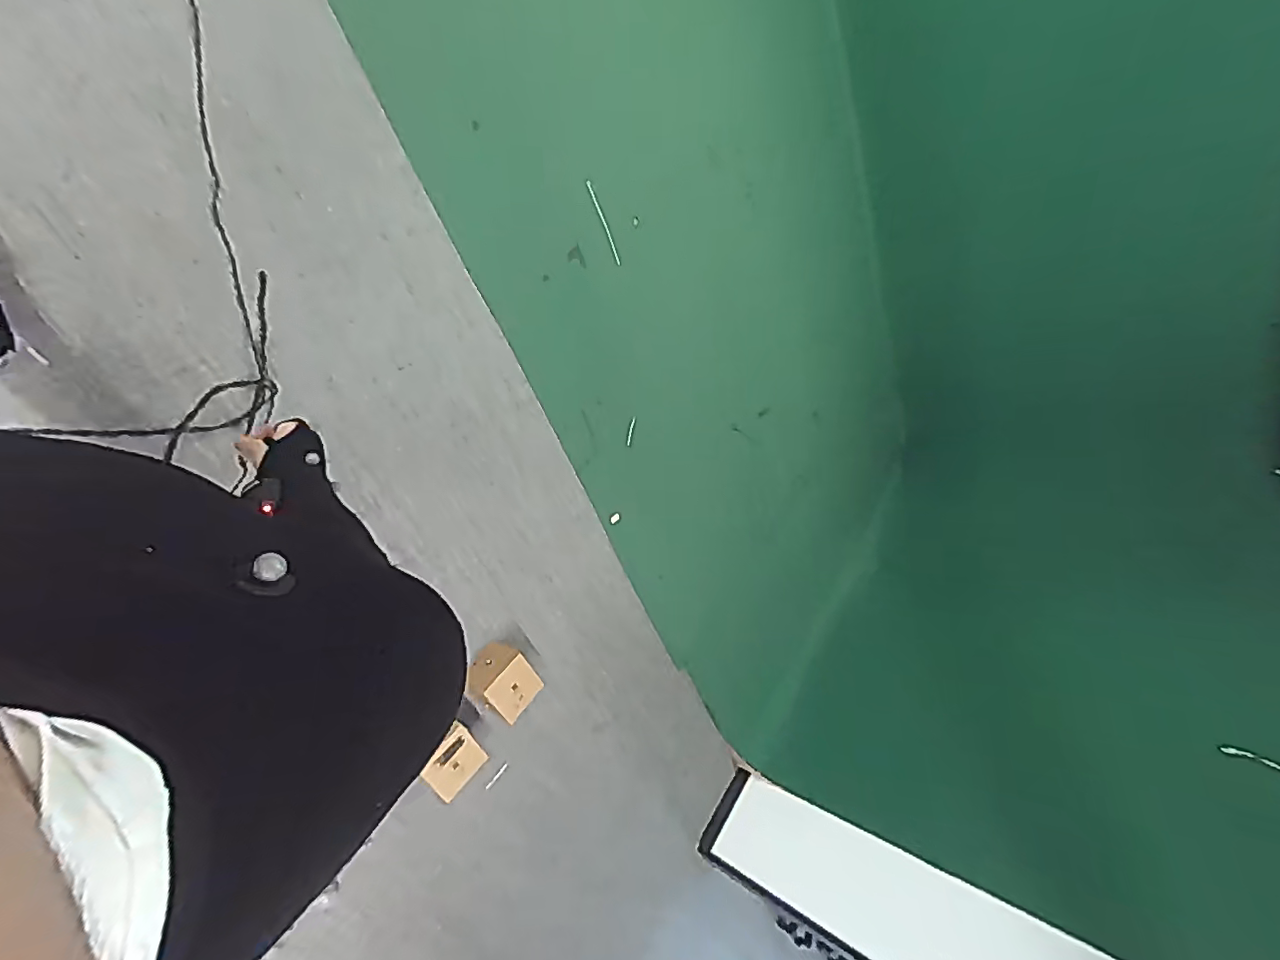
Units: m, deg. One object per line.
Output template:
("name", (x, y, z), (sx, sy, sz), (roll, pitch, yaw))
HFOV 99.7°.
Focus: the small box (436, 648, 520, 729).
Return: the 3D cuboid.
("small box", (-0.543, 0.684, 1.799), (0.168, 0.176, 0.179), (-45, 126, -34))
